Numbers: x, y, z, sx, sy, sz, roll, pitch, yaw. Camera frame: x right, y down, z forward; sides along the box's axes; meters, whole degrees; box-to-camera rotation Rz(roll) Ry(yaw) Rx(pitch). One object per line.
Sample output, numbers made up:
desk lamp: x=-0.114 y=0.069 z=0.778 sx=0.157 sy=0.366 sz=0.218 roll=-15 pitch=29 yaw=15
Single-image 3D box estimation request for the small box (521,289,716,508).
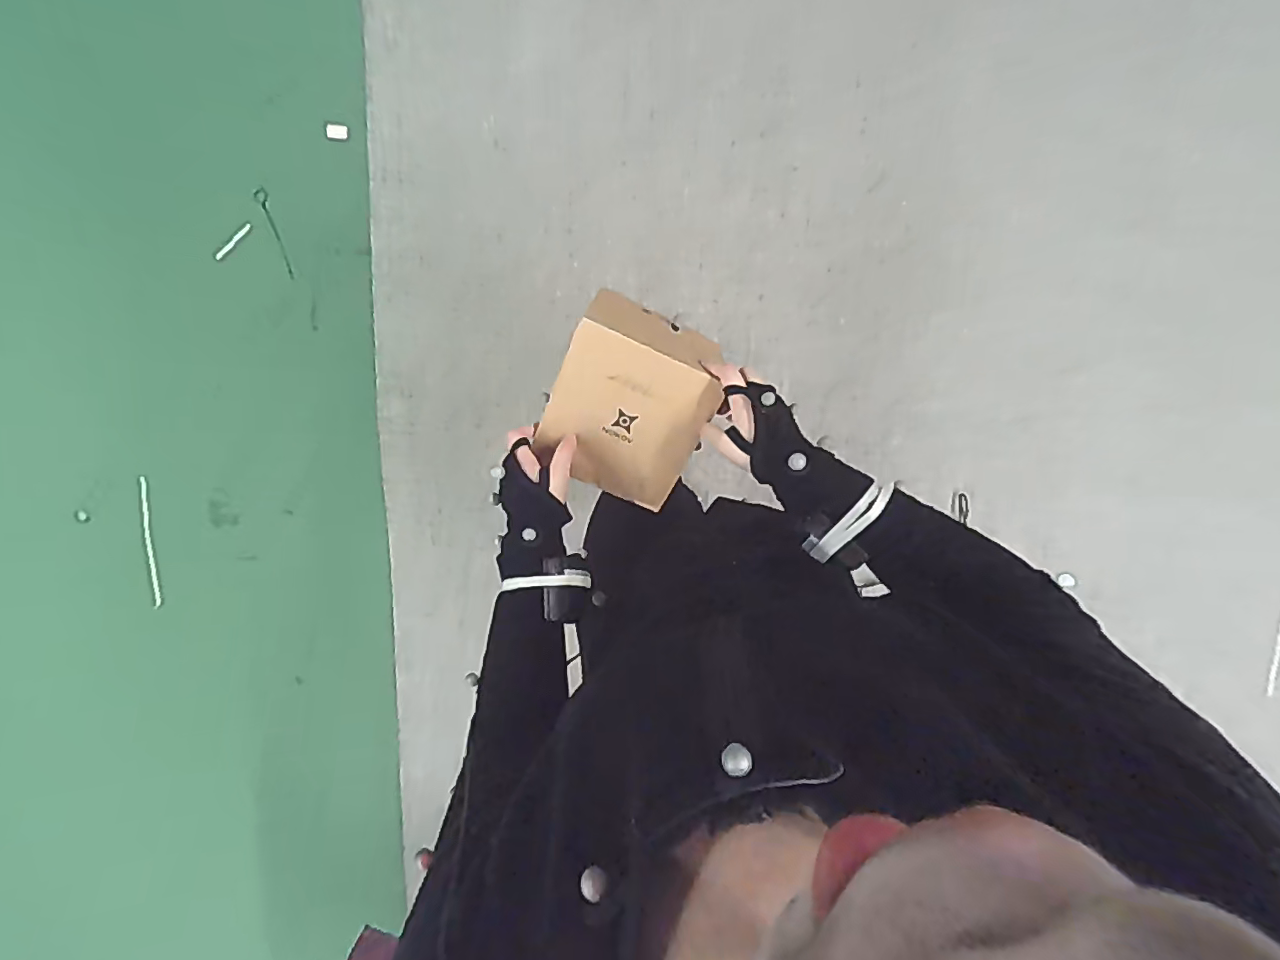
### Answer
small box: x=-0.021 y=-0.104 z=0.654 sx=0.168 sy=0.176 sz=0.179 roll=24 pitch=119 yaw=-9
